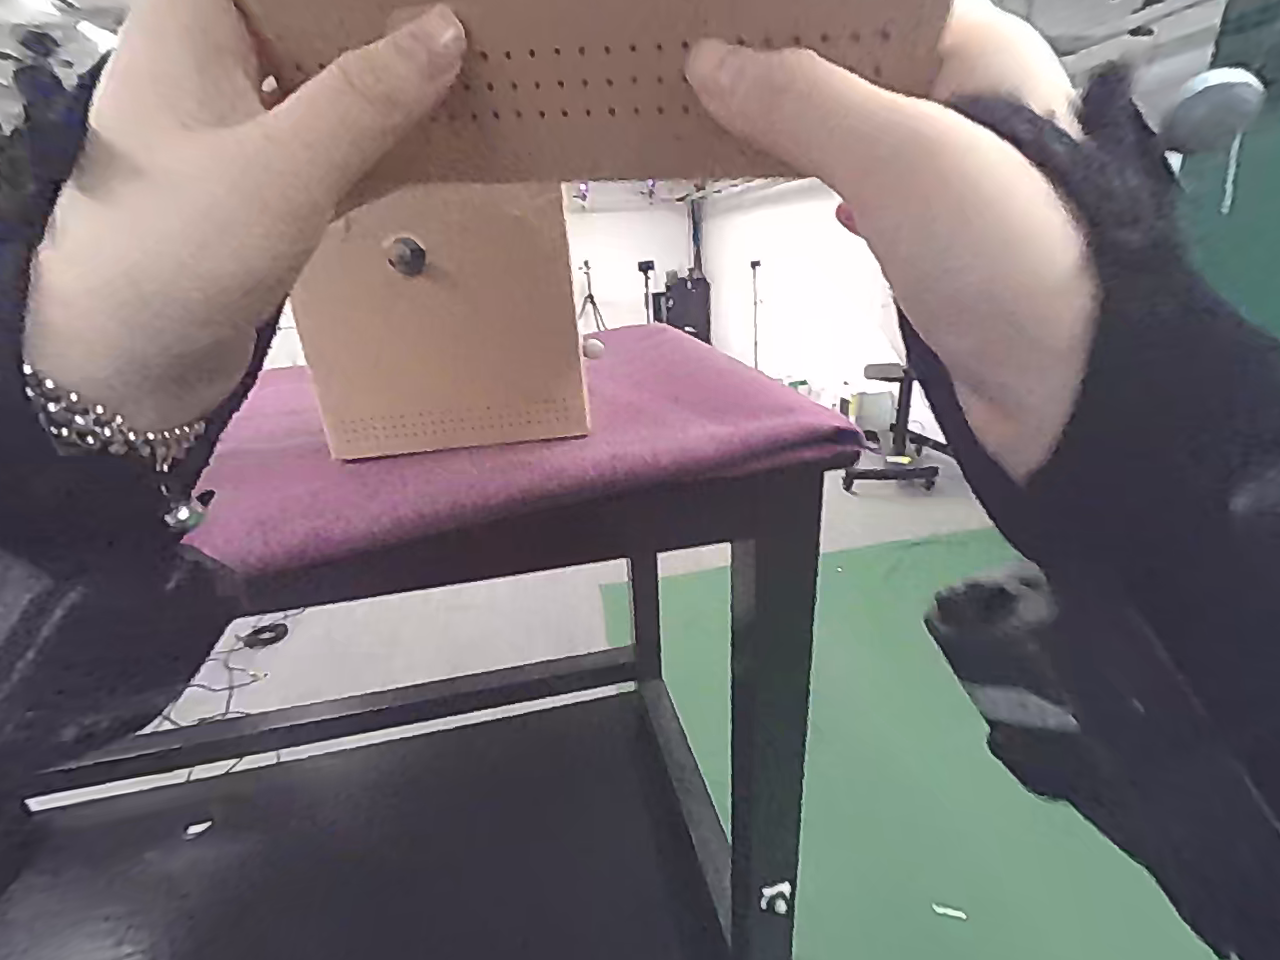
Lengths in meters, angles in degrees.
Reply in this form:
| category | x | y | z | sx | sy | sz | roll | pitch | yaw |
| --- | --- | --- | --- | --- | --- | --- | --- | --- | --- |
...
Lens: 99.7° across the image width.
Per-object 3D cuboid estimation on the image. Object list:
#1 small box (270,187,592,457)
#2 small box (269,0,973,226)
| category | x | y | z | sx | sy | sz | roll | pitch | yaw |
| --- | --- | --- | --- | --- | --- | --- | --- | --- | --- |
| small box | -0.133 | -0.121 | 0.420 | 0.179 | 0.176 | 0.168 | -5 | 20 | -5 |
| small box | -0.001 | -0.187 | 0.149 | 0.179 | 0.176 | 0.168 | 5 | 50 | 8 |
